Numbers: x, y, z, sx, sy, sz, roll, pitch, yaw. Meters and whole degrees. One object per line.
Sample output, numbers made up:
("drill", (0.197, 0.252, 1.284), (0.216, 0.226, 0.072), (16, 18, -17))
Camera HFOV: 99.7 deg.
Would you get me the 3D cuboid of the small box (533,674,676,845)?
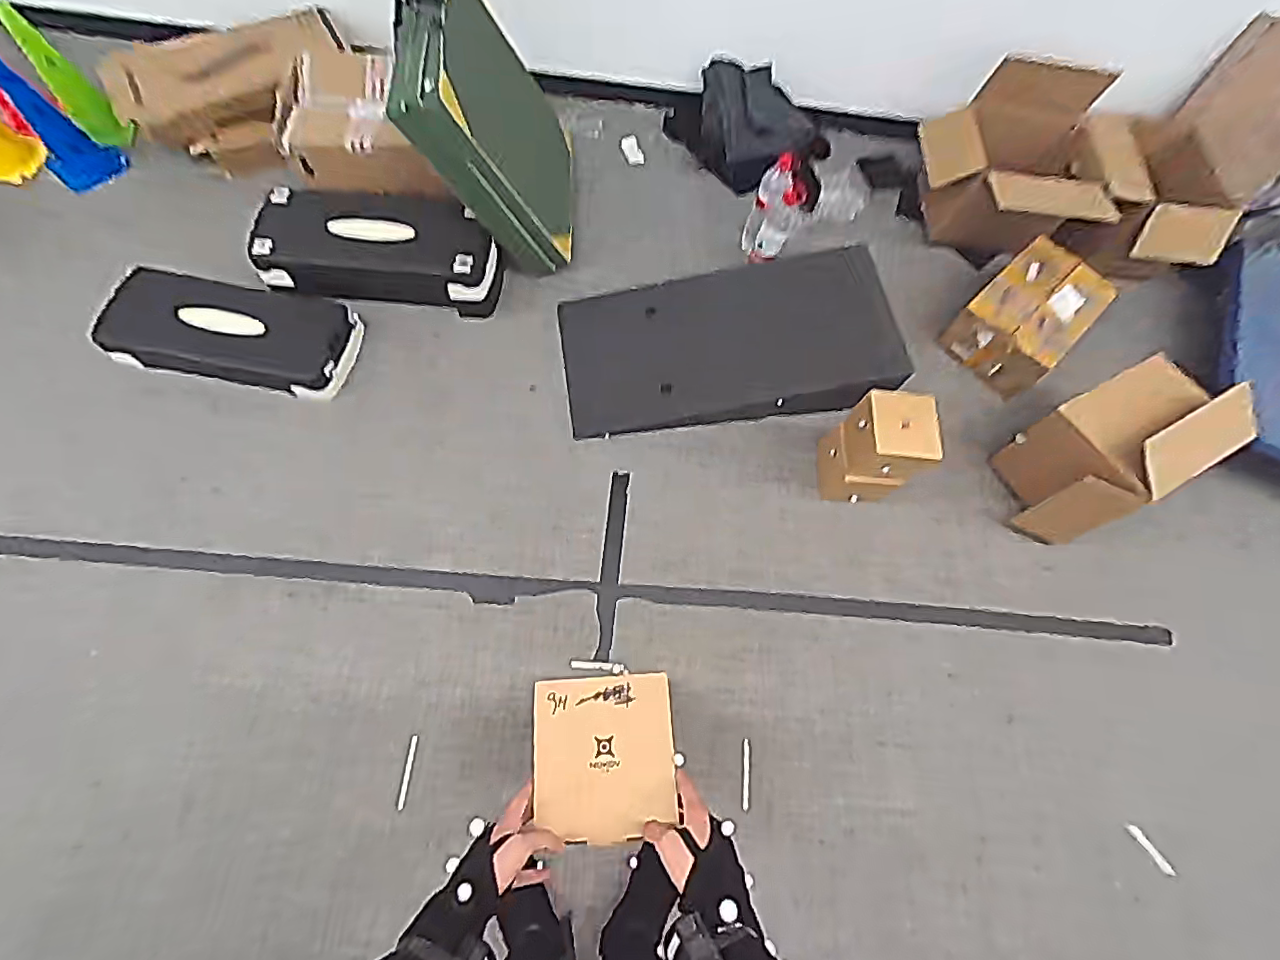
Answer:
("small box", (-0.040, 0.351, 0.706), (0.168, 0.176, 0.179), (-3, 68, 0))
